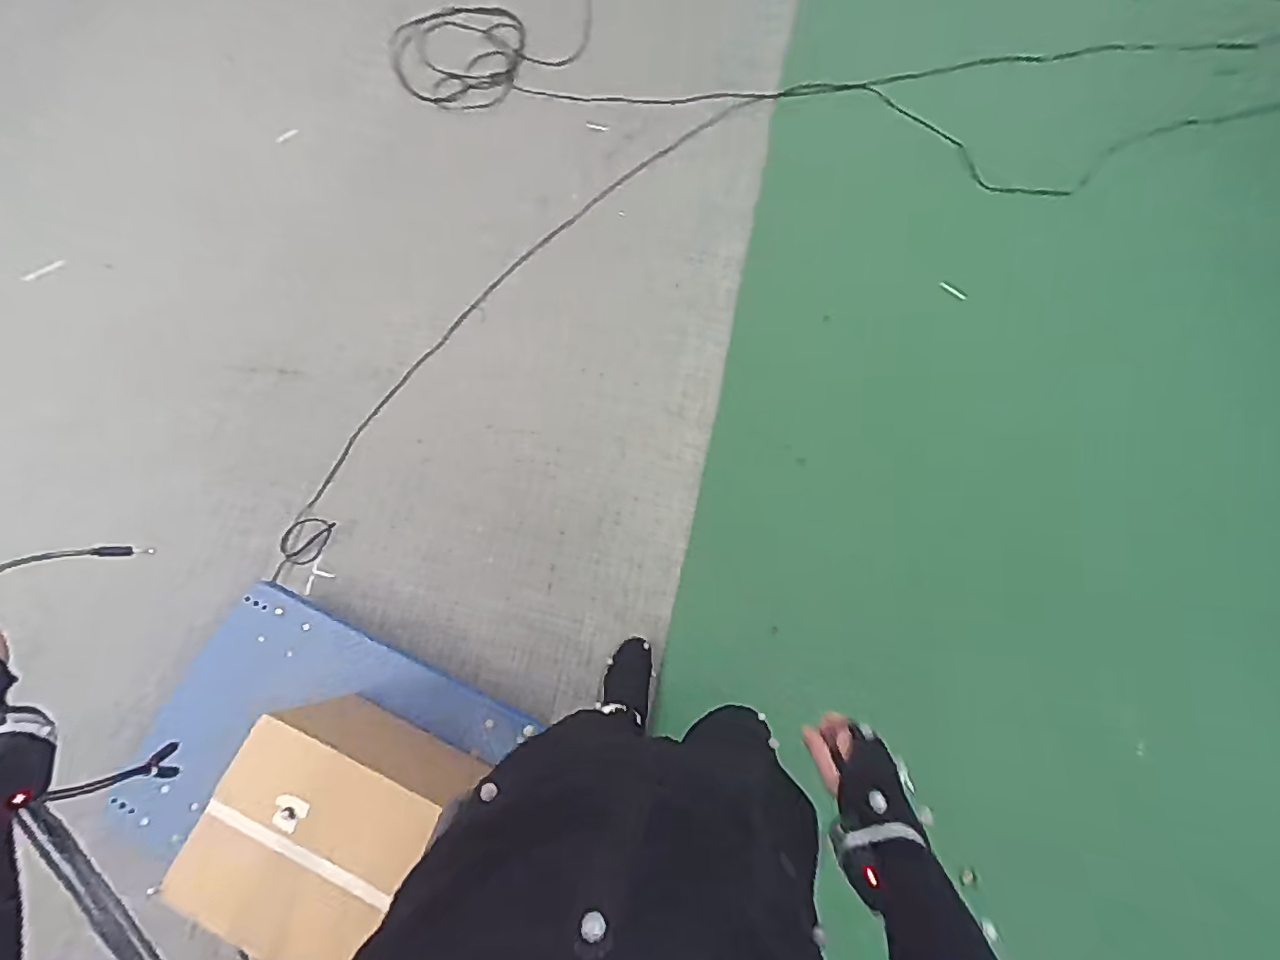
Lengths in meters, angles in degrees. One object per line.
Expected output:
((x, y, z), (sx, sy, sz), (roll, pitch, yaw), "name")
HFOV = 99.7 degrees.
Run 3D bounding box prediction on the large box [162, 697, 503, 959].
((-0.541, 0.665, 1.041), (0.408, 0.320, 0.320), (24, 75, 7), "large box")
